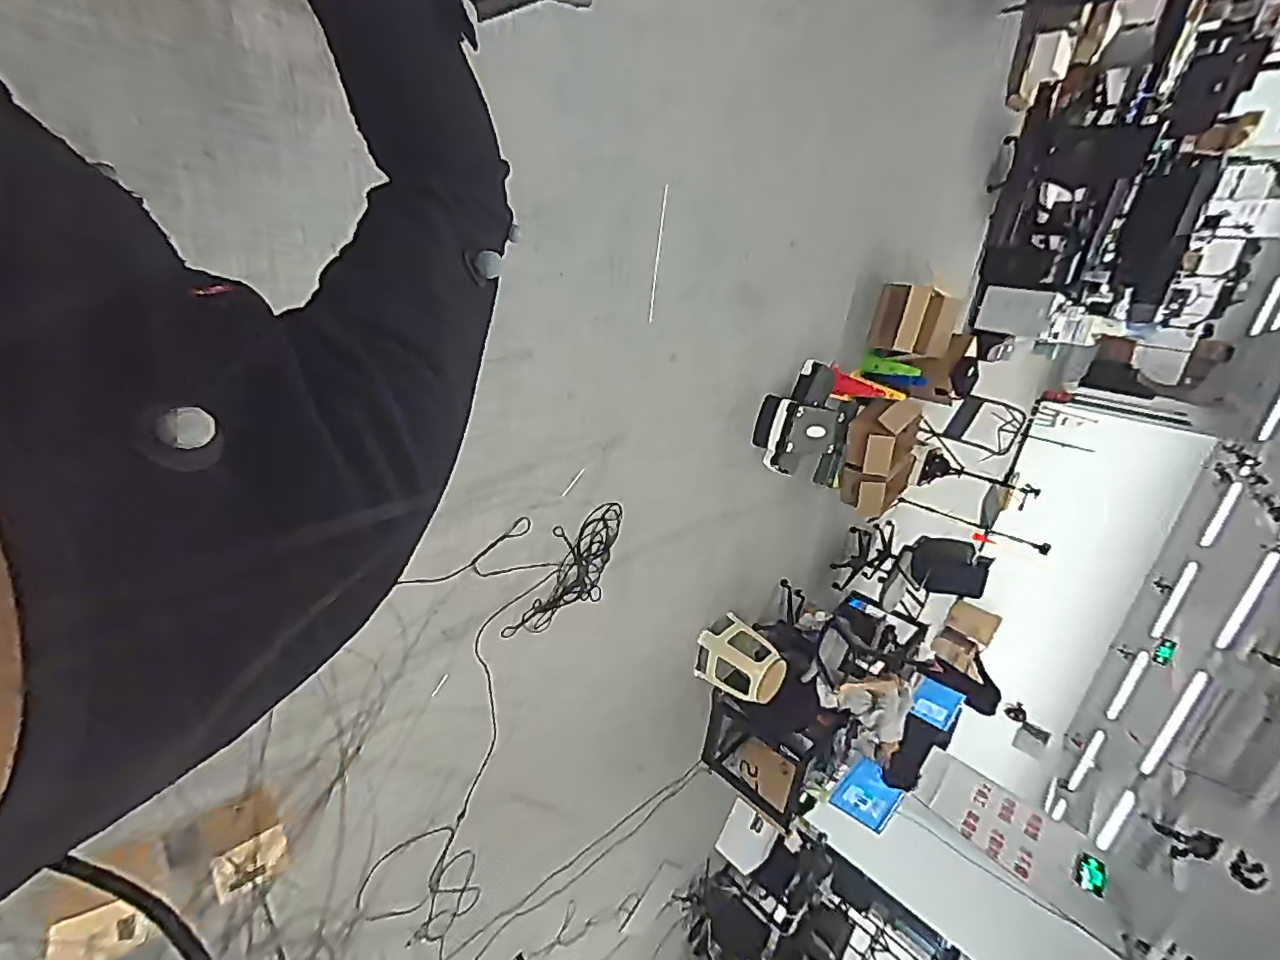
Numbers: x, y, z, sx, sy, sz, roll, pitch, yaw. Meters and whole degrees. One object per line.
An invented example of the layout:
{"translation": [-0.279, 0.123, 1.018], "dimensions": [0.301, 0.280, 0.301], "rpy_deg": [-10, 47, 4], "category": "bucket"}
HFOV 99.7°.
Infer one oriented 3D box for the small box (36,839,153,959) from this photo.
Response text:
{"translation": [-1.313, 1.016, 1.301], "dimensions": [0.179, 0.176, 0.168], "rpy_deg": [7, 103, -49], "category": "small box"}
